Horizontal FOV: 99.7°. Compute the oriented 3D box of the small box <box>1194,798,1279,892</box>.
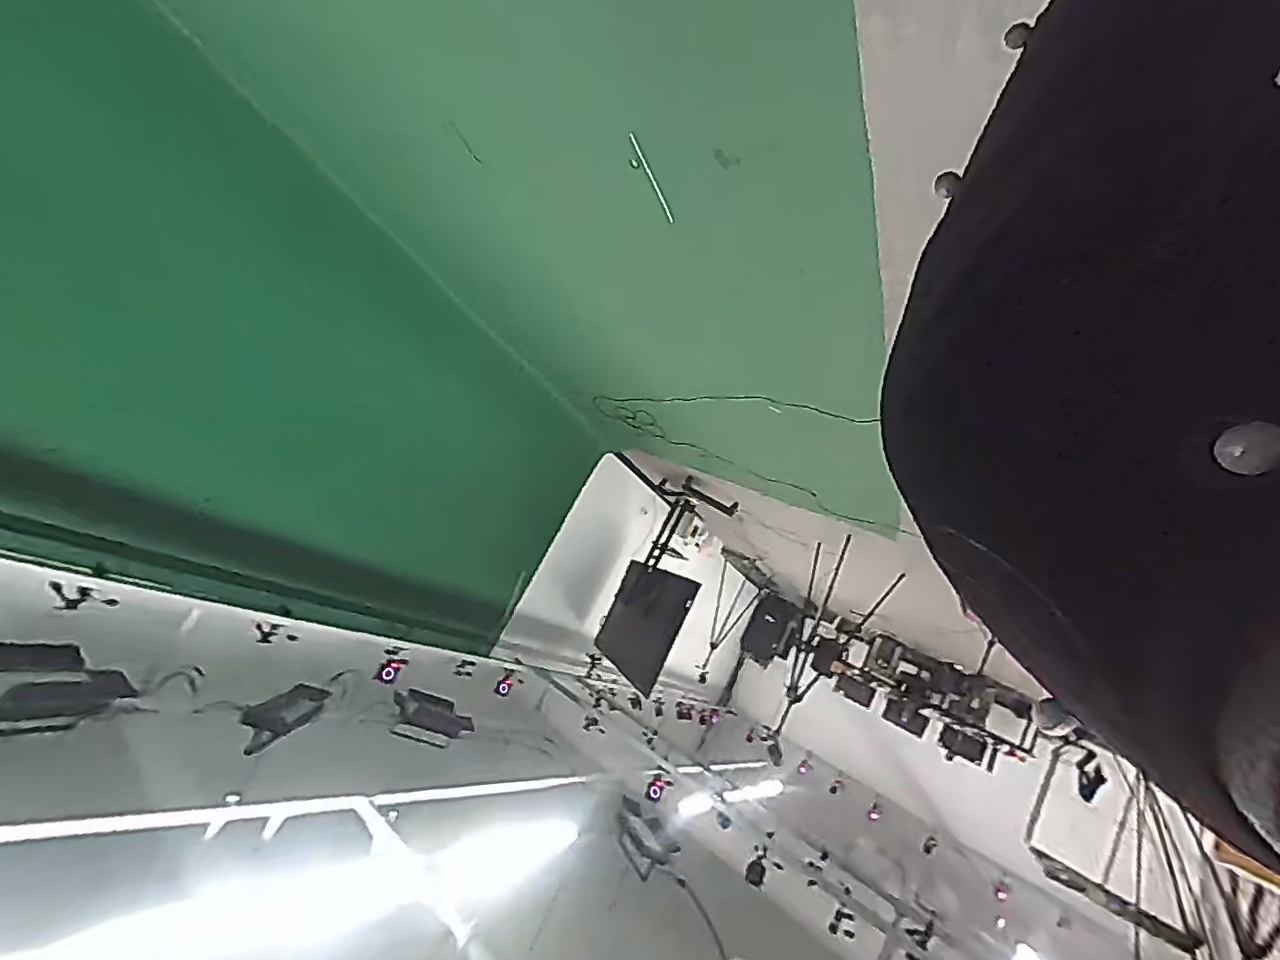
[{"bbox_3d":[1.755,1.049,1.564,0.168,0.176,0.179,19,167,43],"label":"small box"}]

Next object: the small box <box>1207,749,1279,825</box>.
[{"bbox_3d":[1.843,0.916,1.597,0.179,0.176,0.168,20,166,39],"label":"small box"}]
